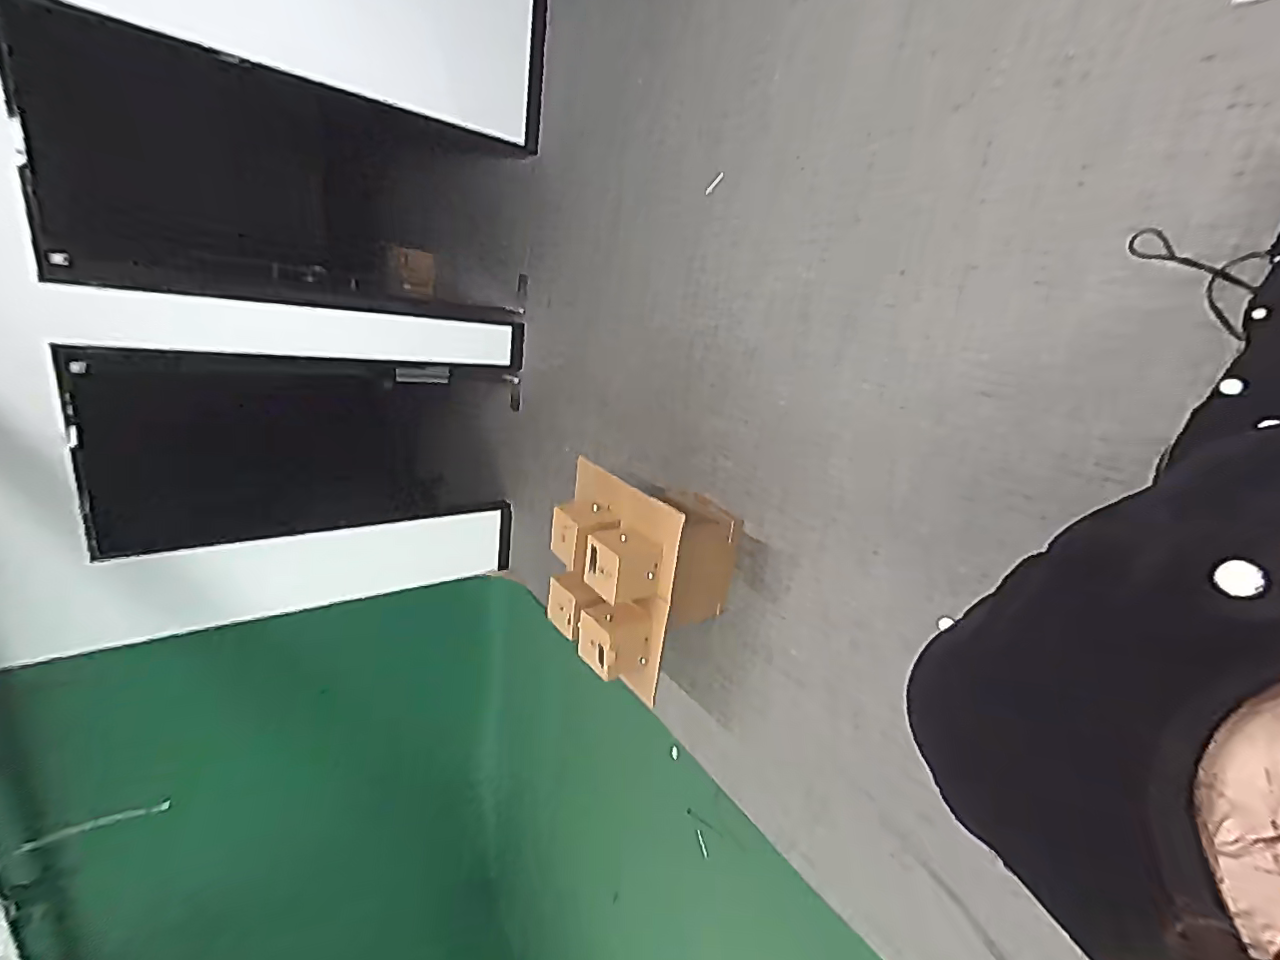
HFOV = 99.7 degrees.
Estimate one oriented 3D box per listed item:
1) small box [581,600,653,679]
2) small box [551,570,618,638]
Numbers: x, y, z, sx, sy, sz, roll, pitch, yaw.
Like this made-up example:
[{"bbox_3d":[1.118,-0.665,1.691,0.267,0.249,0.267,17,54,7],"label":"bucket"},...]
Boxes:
[{"bbox_3d":[-0.074,0.512,1.768,0.179,0.176,0.168,24,114,50],"label":"small box"},{"bbox_3d":[-0.200,0.432,1.924,0.179,0.176,0.168,28,118,50],"label":"small box"}]
